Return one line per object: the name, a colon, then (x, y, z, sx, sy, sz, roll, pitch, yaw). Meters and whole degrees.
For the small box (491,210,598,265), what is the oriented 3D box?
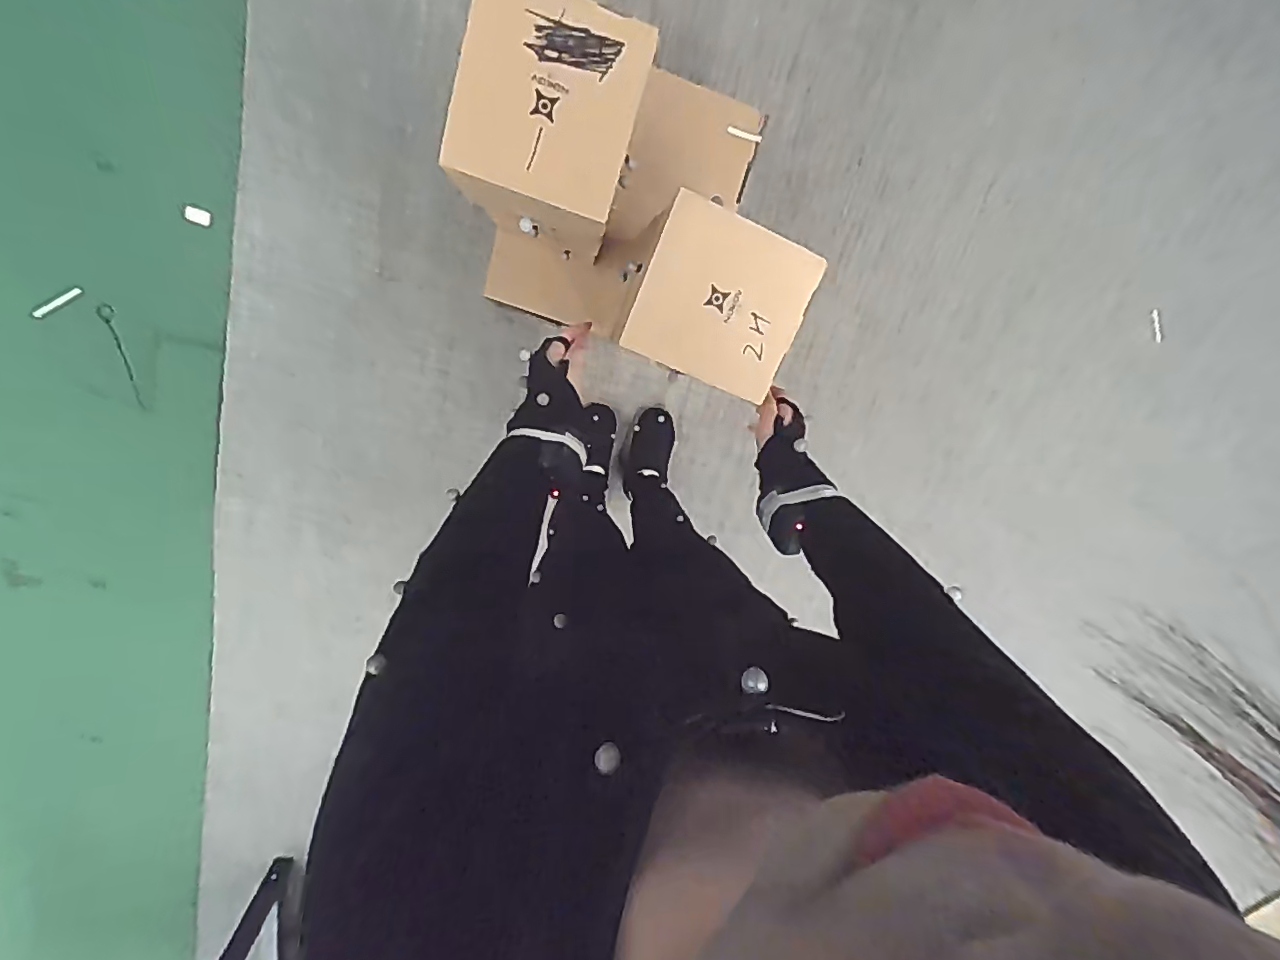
small box: (-0.132, -0.473, 0.890, 0.168, 0.176, 0.179, 16, 102, -10)

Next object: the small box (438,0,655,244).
small box: (-0.097, -0.377, 0.579, 0.168, 0.176, 0.179, 16, 104, -10)

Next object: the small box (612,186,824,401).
small box: (0.074, -0.208, 0.638, 0.179, 0.176, 0.168, 21, 103, -11)

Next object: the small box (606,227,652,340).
small box: (0.042, -0.312, 0.950, 0.168, 0.176, 0.179, 18, 102, -11)
